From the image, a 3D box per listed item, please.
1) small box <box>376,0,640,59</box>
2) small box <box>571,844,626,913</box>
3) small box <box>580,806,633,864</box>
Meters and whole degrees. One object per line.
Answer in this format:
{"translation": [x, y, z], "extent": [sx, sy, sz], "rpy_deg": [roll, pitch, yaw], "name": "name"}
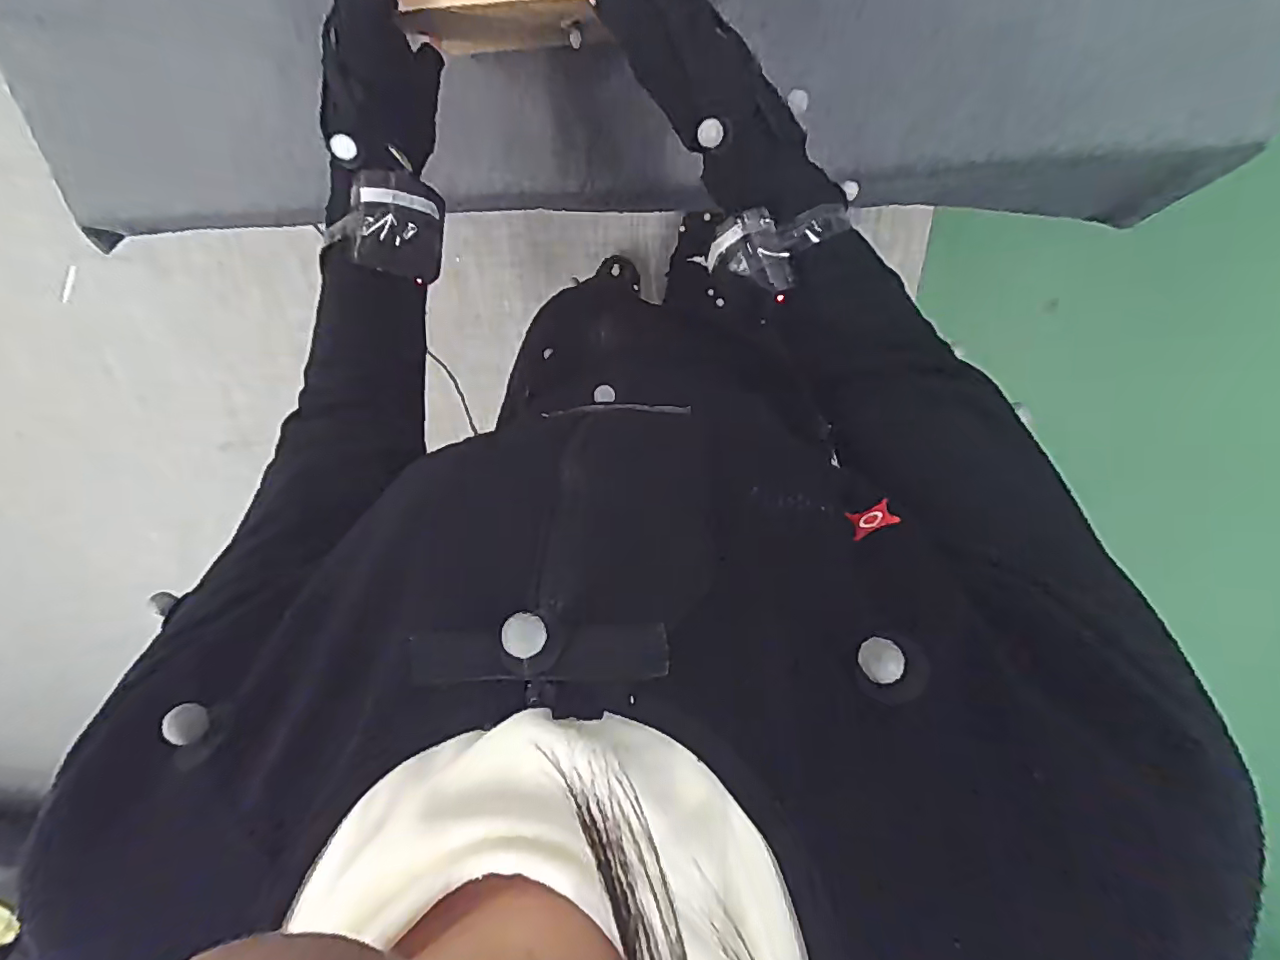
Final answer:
{"translation": [-0.093, -0.428, 0.391], "extent": [0.179, 0.176, 0.168], "rpy_deg": [-2, 119, 6], "name": "small box"}
{"translation": [-0.164, 1.618, 2.202], "extent": [0.179, 0.176, 0.168], "rpy_deg": [-2, 119, 11], "name": "small box"}
{"translation": [-0.141, 1.543, 2.346], "extent": [0.179, 0.176, 0.168], "rpy_deg": [-6, 118, 13], "name": "small box"}
